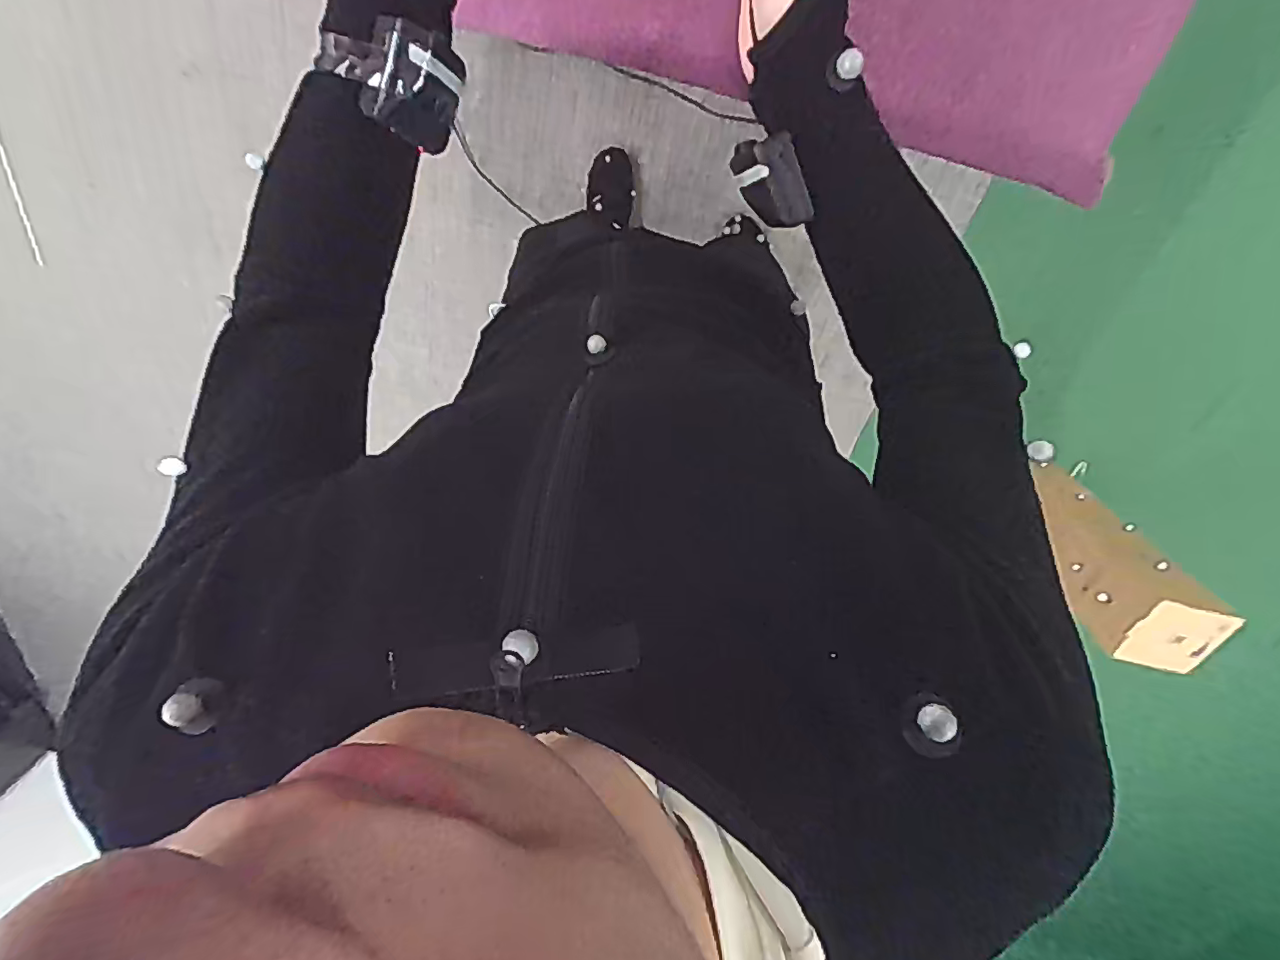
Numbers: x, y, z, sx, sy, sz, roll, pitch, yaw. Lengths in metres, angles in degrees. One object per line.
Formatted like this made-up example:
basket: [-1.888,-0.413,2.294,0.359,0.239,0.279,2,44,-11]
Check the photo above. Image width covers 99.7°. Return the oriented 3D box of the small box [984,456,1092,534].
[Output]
small box: [1.158,0.055,1.595,0.168,0.176,0.179,11,121,0]

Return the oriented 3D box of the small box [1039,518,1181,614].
small box: [1.124,0.215,1.313,0.168,0.176,0.179,11,121,1]

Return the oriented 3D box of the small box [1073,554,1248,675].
small box: [1.100,0.283,1.165,0.179,0.176,0.168,14,121,-1]

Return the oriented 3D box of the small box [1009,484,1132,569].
small box: [1.141,0.138,1.457,0.168,0.176,0.179,13,121,-1]
